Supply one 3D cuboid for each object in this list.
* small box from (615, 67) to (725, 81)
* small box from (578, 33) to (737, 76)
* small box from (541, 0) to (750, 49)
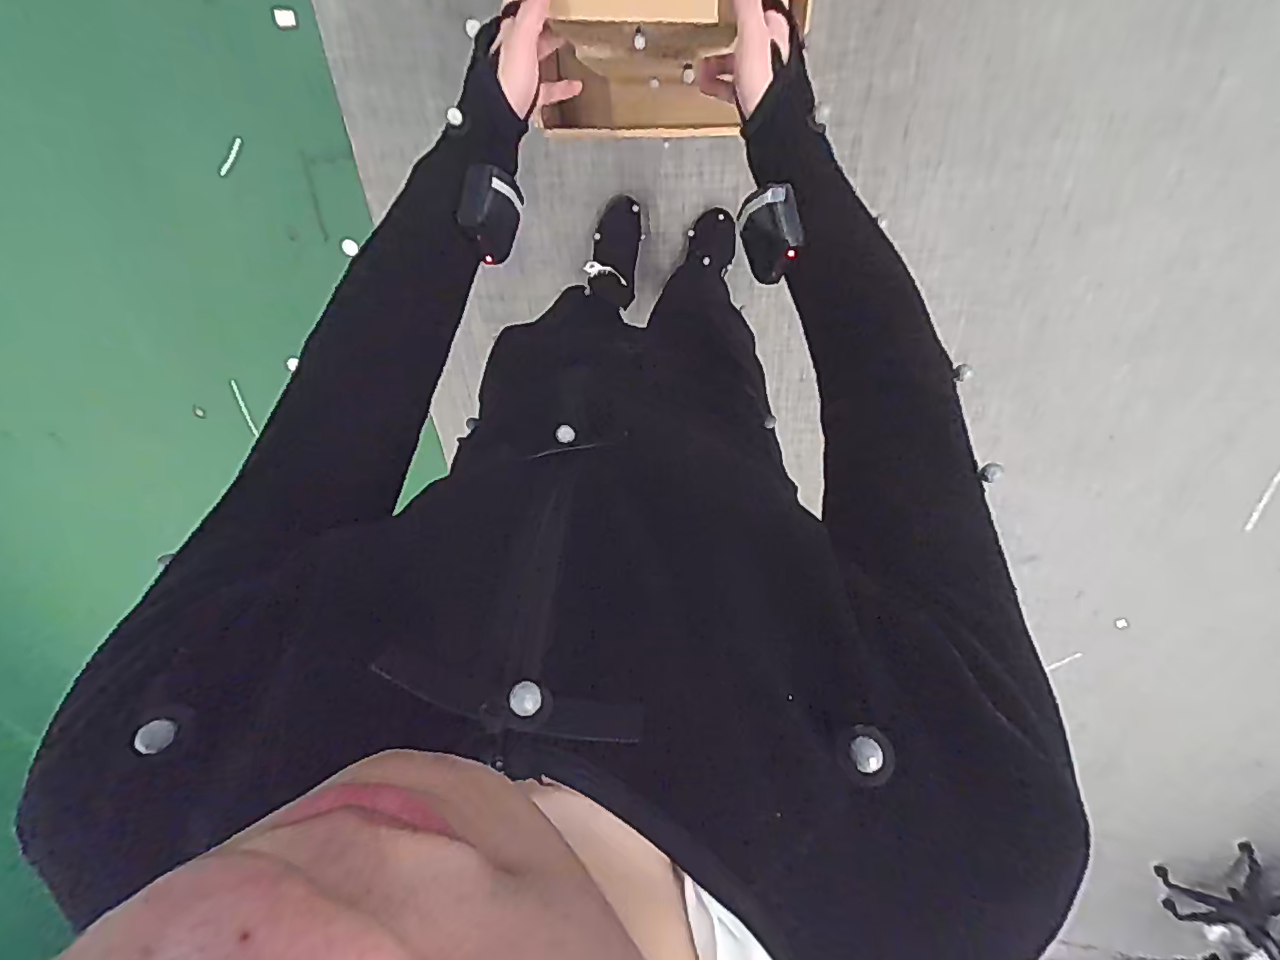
[{"bbox_3d":[0.041,-0.674,0.764,0.179,0.176,0.168,4,122,5],"label":"small box"},{"bbox_3d":[0.028,-0.583,0.627,0.179,0.176,0.168,5,122,4],"label":"small box"},{"bbox_3d":[0.013,-0.496,0.476,0.179,0.176,0.168,4,124,2],"label":"small box"}]
